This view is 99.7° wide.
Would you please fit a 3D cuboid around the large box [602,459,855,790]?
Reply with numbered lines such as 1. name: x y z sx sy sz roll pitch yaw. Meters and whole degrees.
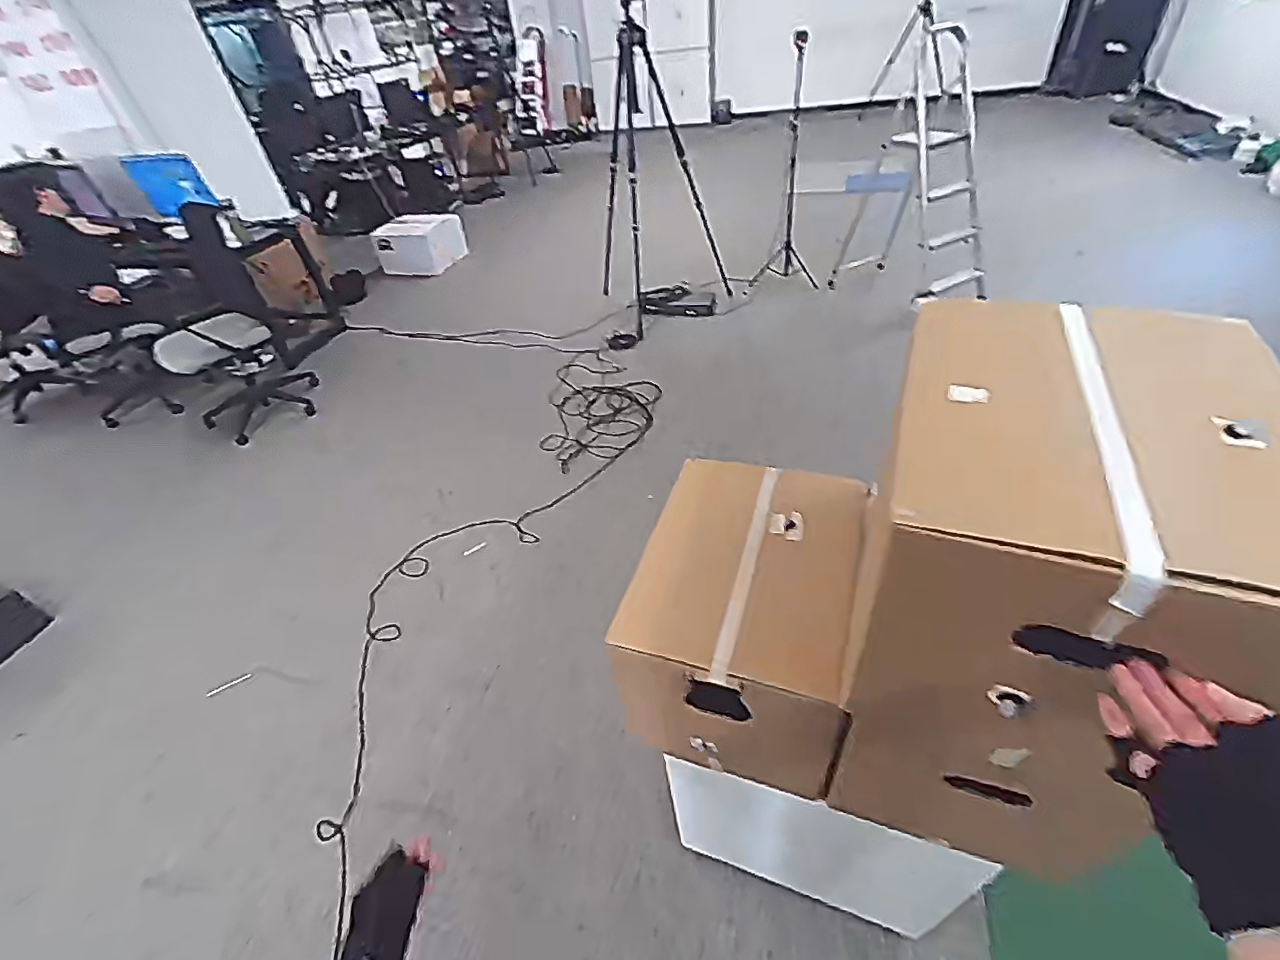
1. large box: 0.169 0.219 0.907 0.320 0.320 0.408 9 43 19
